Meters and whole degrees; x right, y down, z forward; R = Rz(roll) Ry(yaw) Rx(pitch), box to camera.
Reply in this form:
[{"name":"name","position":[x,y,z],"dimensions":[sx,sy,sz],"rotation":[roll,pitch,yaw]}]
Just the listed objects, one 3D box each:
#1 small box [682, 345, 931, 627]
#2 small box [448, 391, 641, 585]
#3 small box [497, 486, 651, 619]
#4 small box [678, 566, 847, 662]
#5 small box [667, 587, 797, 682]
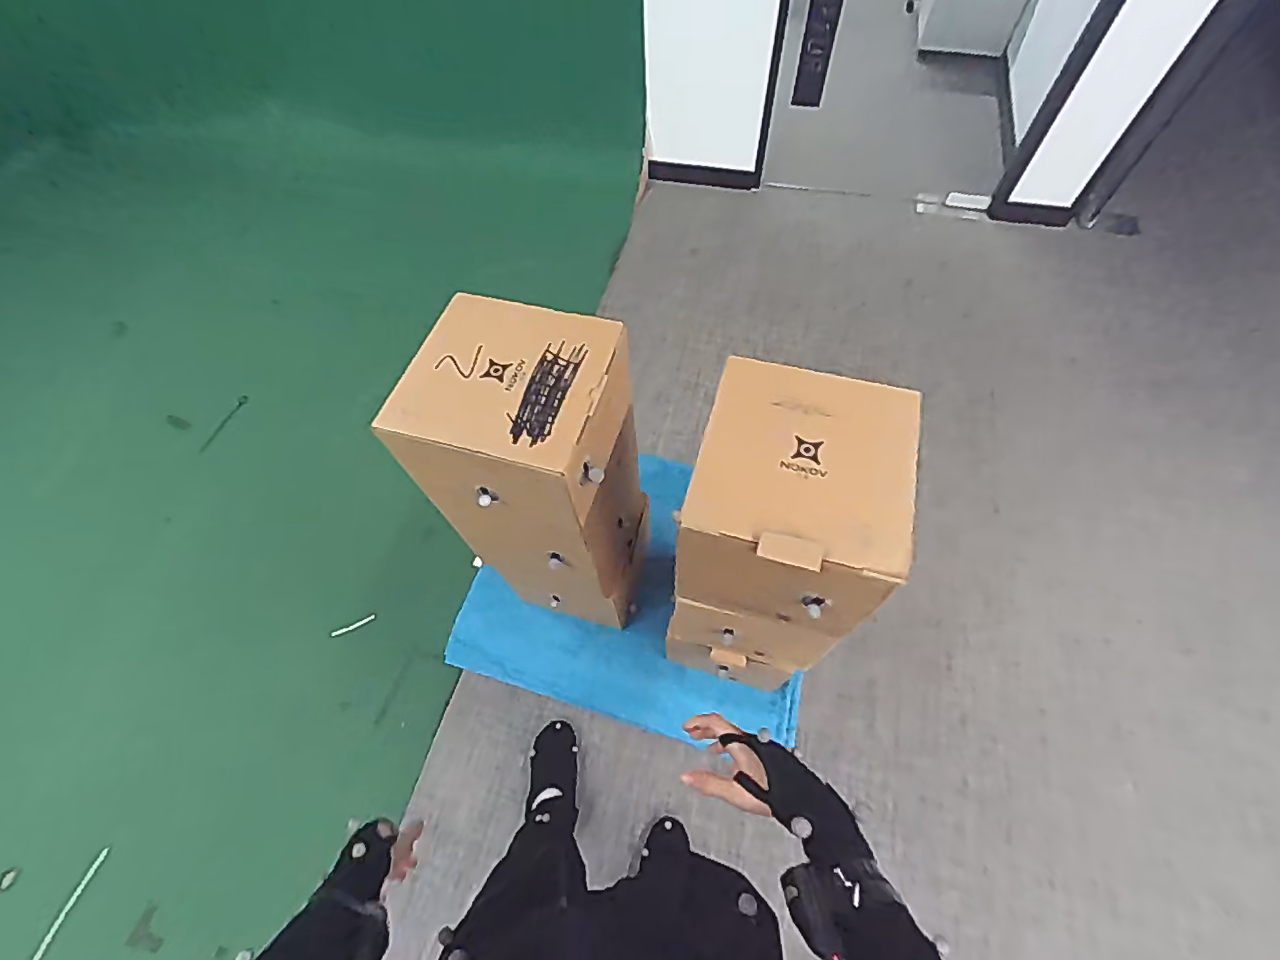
[{"name":"small box","position":[0.138,0.013,0.488],"dimensions":[0.168,0.176,0.179],"rotation":[15,61,10]},{"name":"small box","position":[-0.101,0.018,0.678],"dimensions":[0.179,0.176,0.168],"rotation":[14,62,10]},{"name":"small box","position":[-0.087,0.099,0.821],"dimensions":[0.179,0.176,0.168],"rotation":[13,62,10]},{"name":"small box","position":[0.143,0.095,0.629],"dimensions":[0.168,0.176,0.179],"rotation":[12,61,9]},{"name":"small box","position":[0.141,0.173,0.772],"dimensions":[0.168,0.176,0.179],"rotation":[14,63,10]}]
